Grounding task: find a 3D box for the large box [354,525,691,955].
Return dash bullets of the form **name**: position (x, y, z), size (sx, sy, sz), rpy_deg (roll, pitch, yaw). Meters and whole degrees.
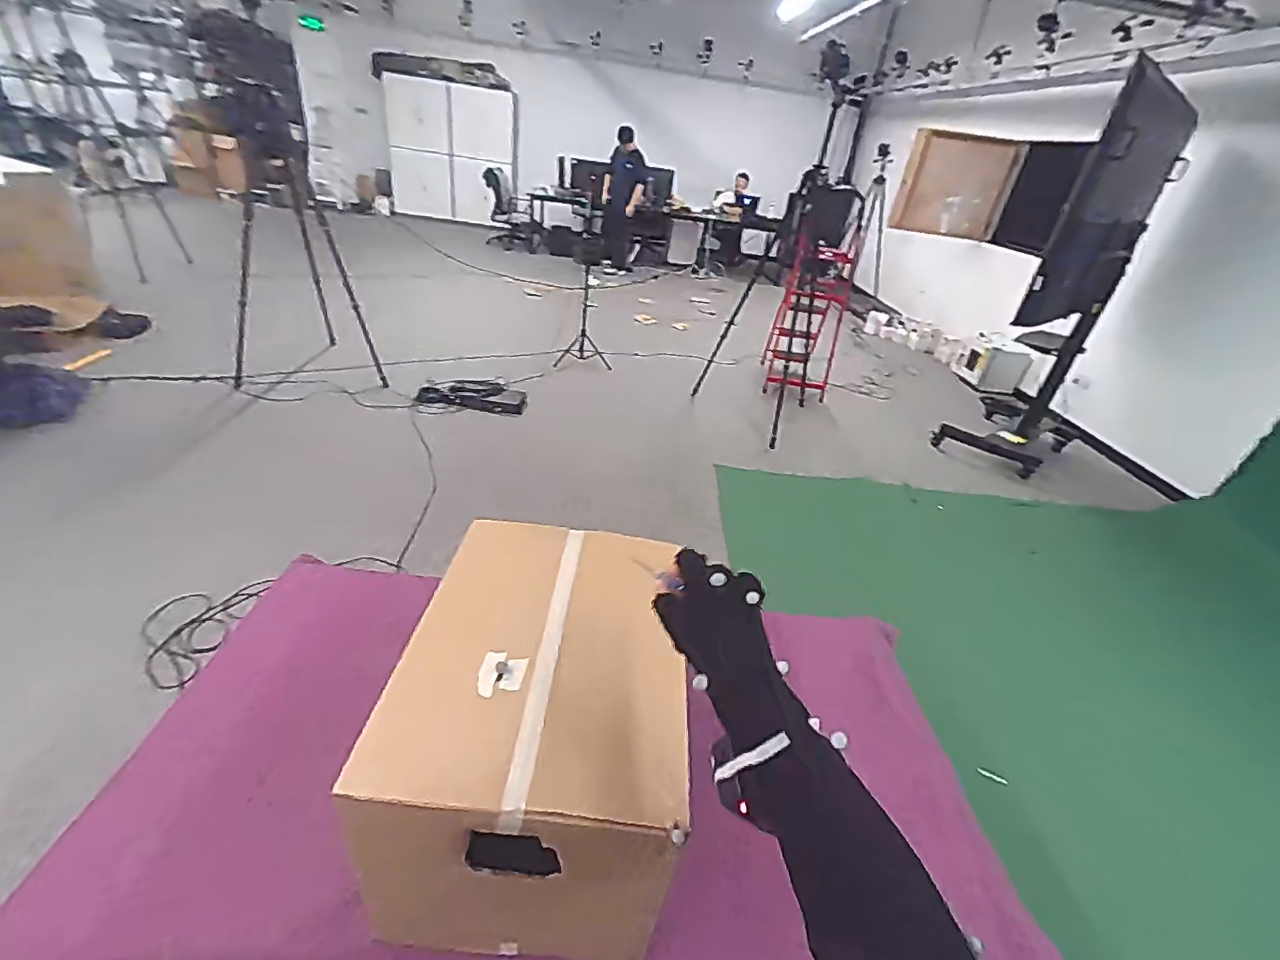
- **large box**: position (-0.120, 0.317, 0.727), size (0.320, 0.320, 0.408), rpy_deg (8, 32, -2)
